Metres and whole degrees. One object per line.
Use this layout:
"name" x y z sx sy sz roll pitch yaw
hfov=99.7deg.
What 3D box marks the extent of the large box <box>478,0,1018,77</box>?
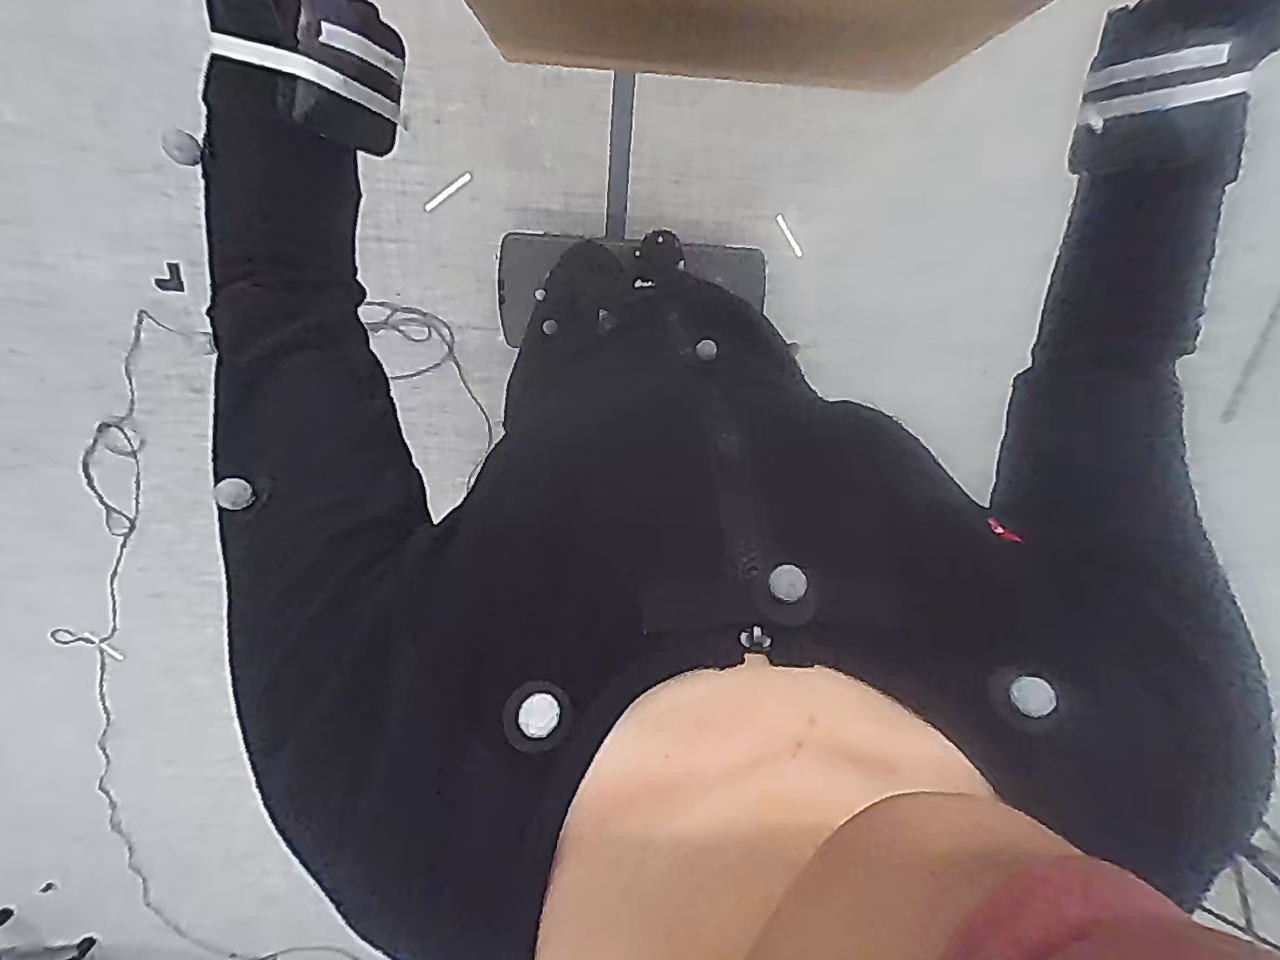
"large box" 0.076 -0.487 0.334 0.408 0.320 0.320 2 113 -2
